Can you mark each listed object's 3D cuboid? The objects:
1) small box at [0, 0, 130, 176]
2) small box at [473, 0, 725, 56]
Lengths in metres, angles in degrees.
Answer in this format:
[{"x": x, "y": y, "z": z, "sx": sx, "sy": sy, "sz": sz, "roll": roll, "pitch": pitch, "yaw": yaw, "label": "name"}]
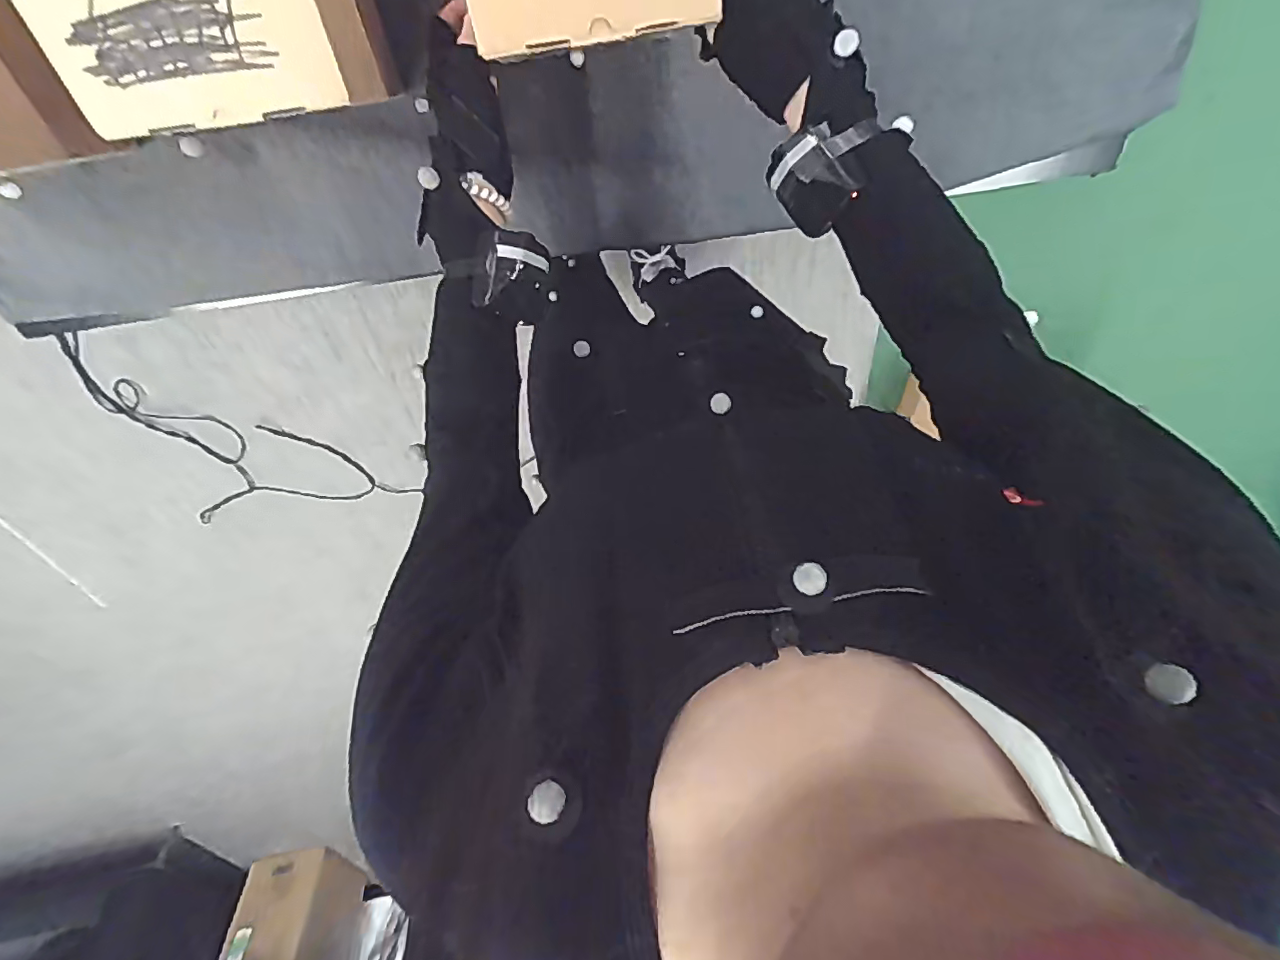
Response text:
[{"x": -0.520, "y": -0.298, "z": 0.359, "sx": 0.168, "sy": 0.176, "sz": 0.179, "roll": -12, "pitch": 127, "yaw": -2, "label": "small box"}, {"x": -0.046, "y": -0.410, "z": 0.369, "sx": 0.168, "sy": 0.176, "sz": 0.179, "roll": -11, "pitch": 130, "yaw": -2, "label": "small box"}]
